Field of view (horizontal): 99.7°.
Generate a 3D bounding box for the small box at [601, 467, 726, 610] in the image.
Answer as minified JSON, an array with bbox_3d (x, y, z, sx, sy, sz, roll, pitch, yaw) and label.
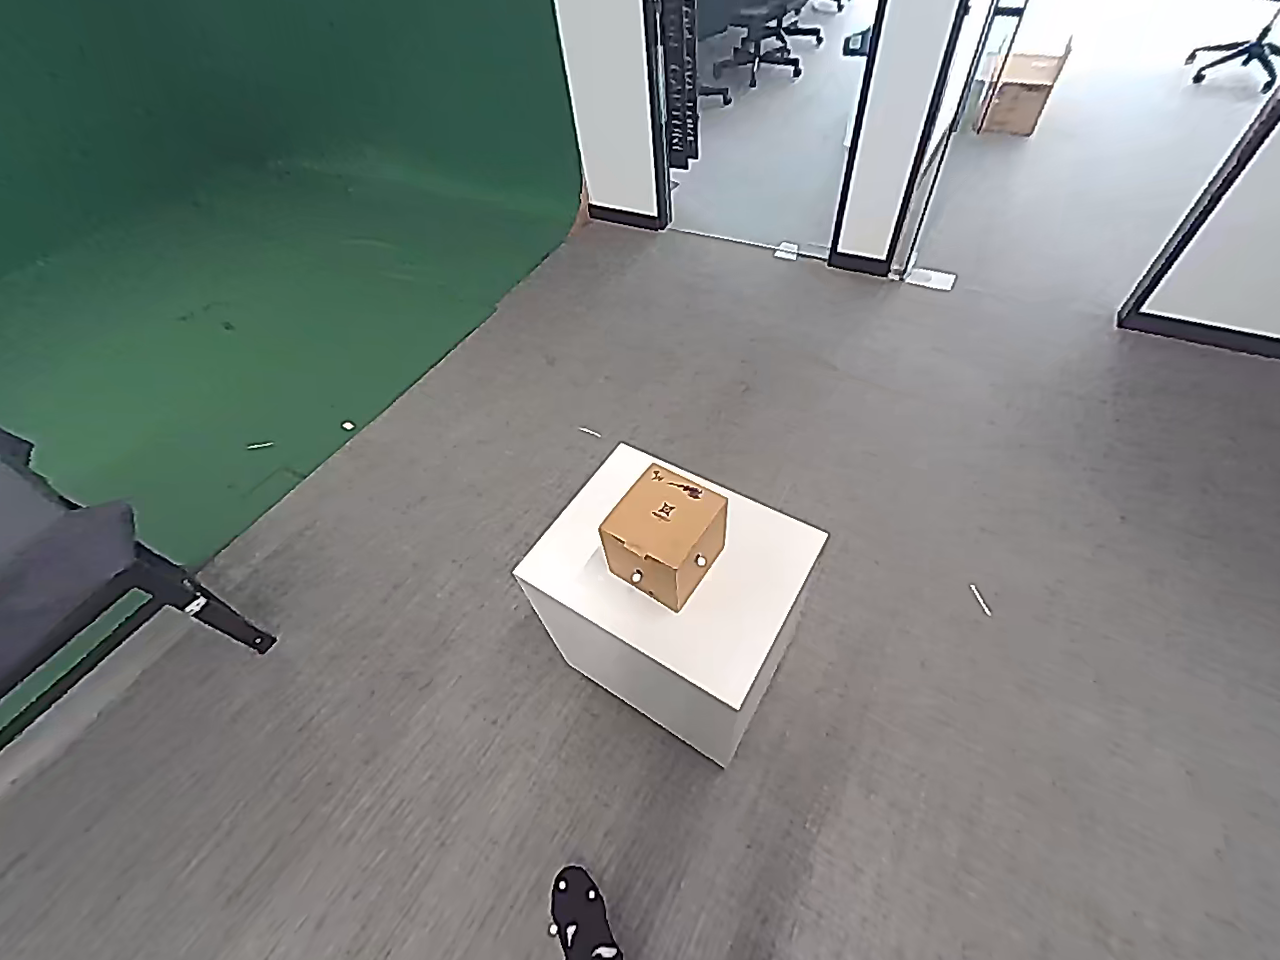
[{"bbox_3d":[0.051,0.114,1.021,0.168,0.176,0.179,25,58,23],"label":"small box"}]
